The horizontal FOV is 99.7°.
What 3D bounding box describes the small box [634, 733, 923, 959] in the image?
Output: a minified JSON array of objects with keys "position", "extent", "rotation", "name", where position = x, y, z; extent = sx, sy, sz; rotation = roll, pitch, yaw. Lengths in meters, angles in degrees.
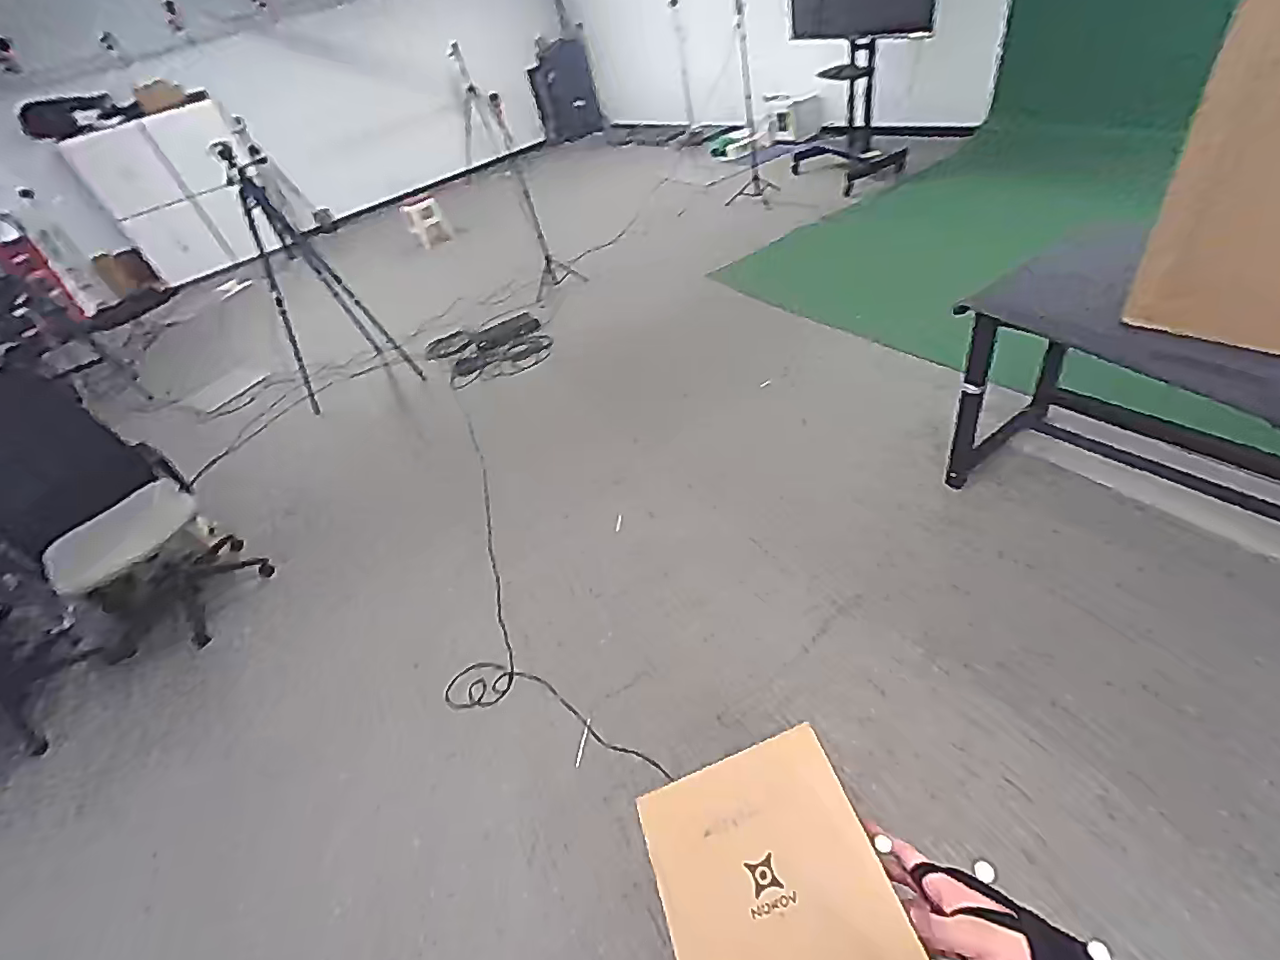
[{"position":[0.119,0.348,0.456],"extent":[0.168,0.176,0.179],"rotation":[-27,47,4],"name":"small box"}]
